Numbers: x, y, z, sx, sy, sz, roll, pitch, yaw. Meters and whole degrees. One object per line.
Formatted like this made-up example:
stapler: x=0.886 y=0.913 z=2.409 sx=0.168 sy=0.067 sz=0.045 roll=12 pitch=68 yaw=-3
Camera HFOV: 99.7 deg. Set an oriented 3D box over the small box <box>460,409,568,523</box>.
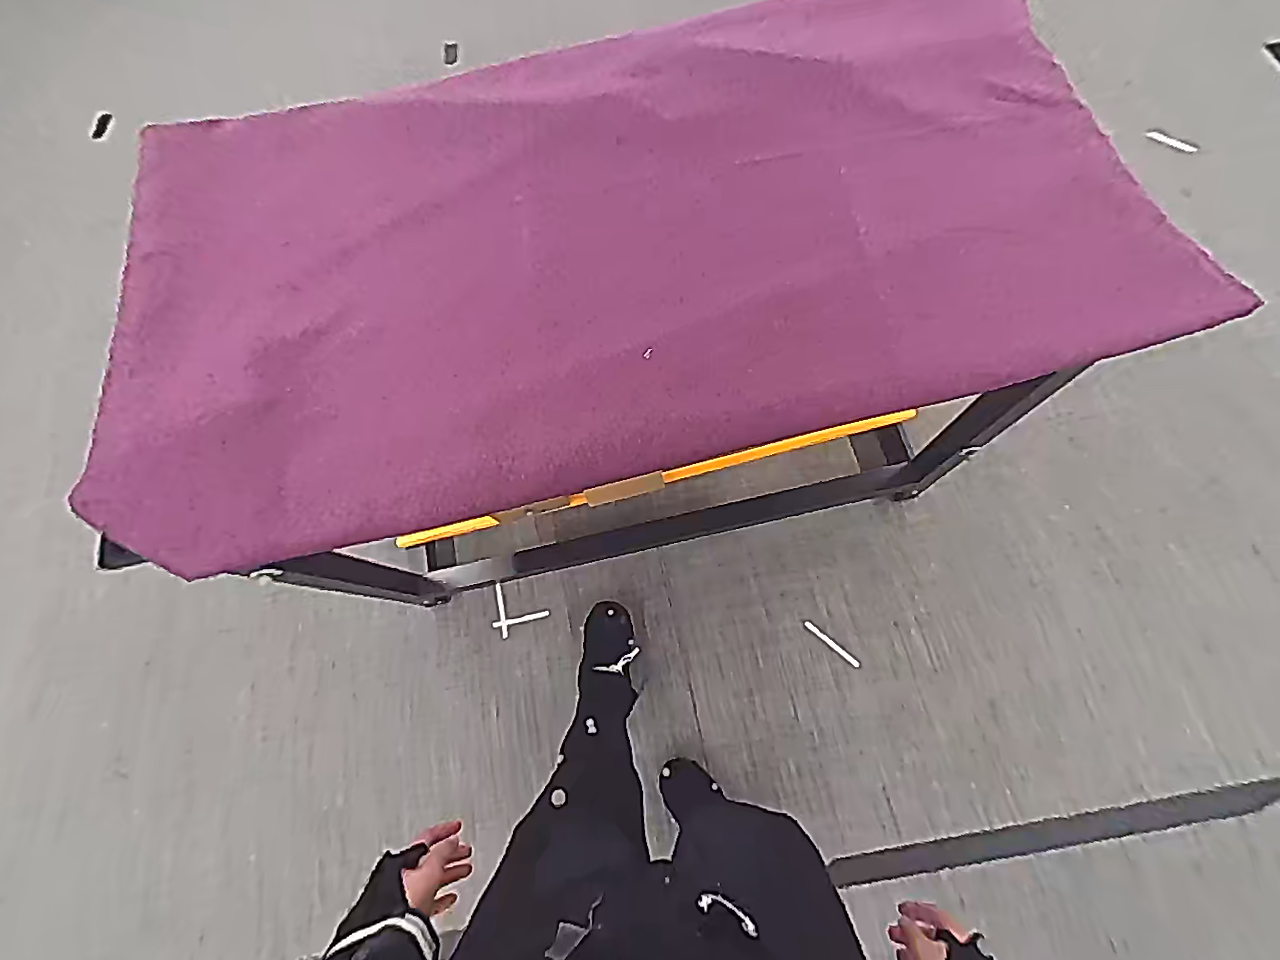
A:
small box: x=-0.266 y=-0.023 z=1.161 sx=0.168 sy=0.176 sz=0.179 roll=-16 pitch=73 yaw=1
